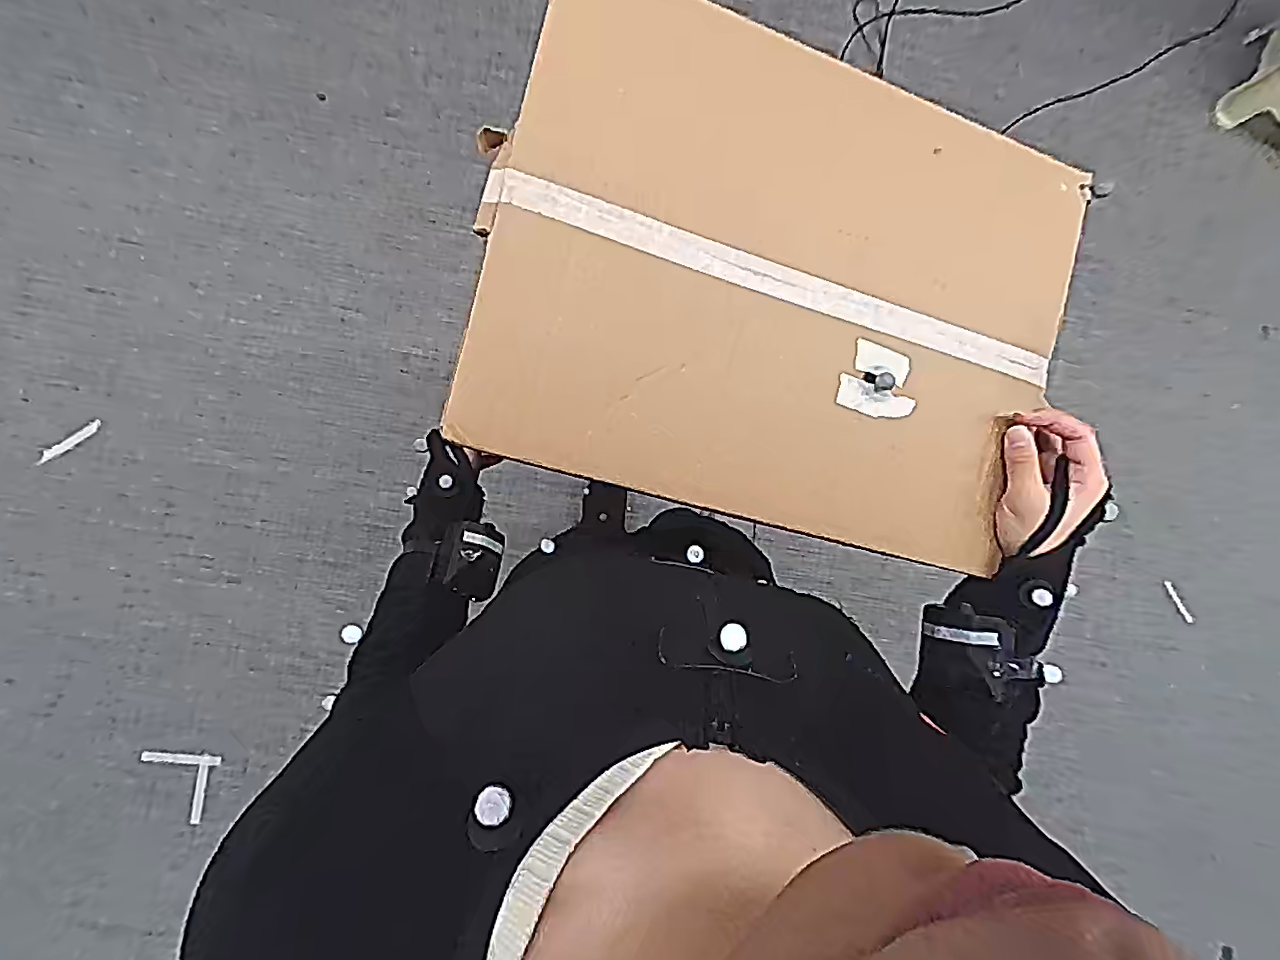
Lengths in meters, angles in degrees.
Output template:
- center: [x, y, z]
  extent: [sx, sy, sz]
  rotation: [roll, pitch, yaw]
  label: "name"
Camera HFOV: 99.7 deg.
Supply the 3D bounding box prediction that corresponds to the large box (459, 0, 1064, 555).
- center: [0.075, -0.137, 0.518]
  extent: [0.408, 0.320, 0.320]
  rotation: [14, 89, -13]
  label: "large box"
